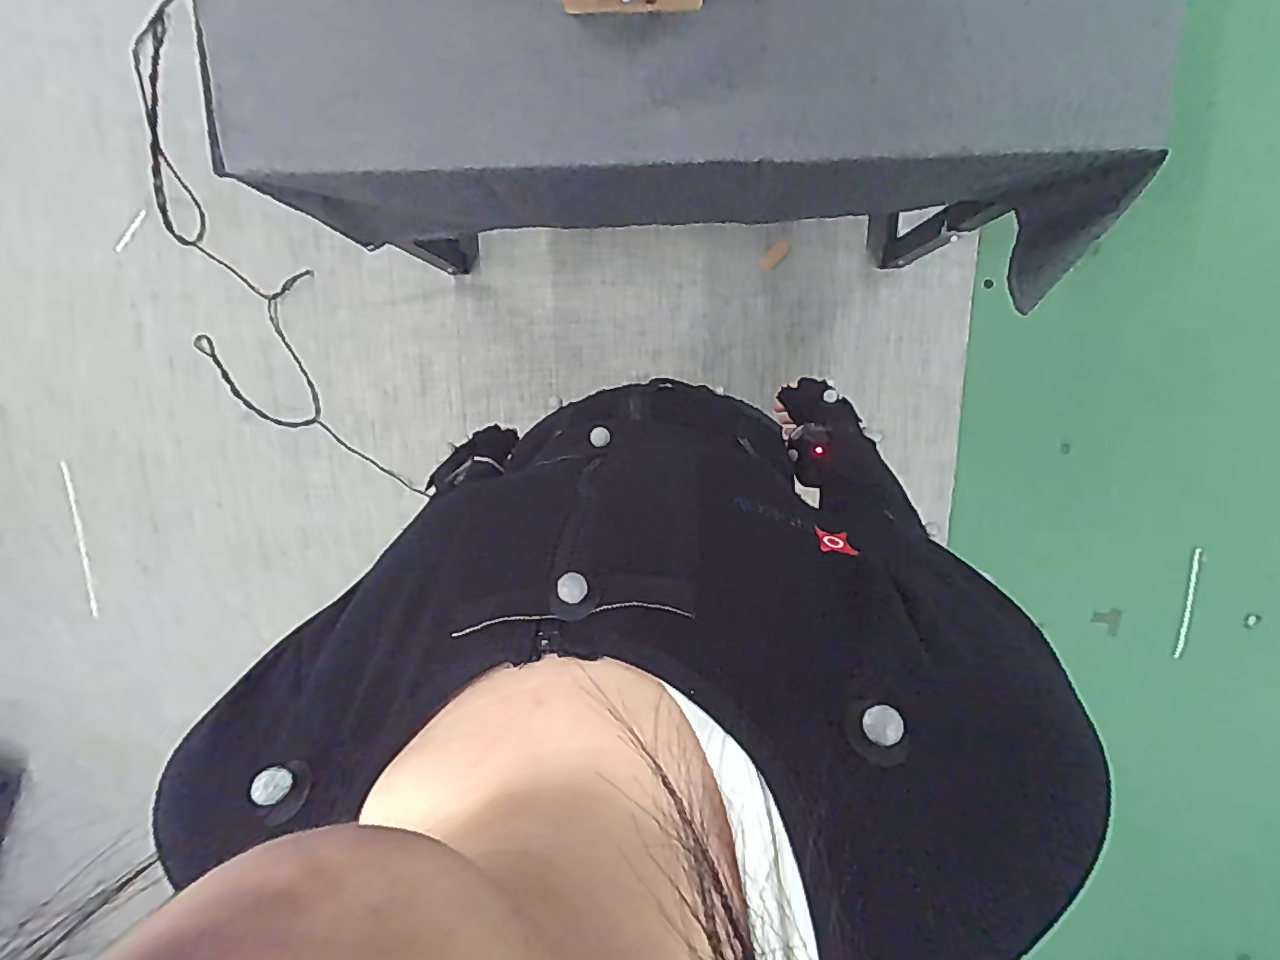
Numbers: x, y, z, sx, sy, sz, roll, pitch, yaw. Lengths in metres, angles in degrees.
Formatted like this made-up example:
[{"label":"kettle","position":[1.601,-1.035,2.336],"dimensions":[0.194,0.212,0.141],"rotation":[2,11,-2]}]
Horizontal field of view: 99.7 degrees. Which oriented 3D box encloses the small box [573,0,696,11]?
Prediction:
[{"label":"small box","position":[-0.012,-0.643,0.562],"dimensions":[0.168,0.176,0.179],"rotation":[1,100,3]}]
